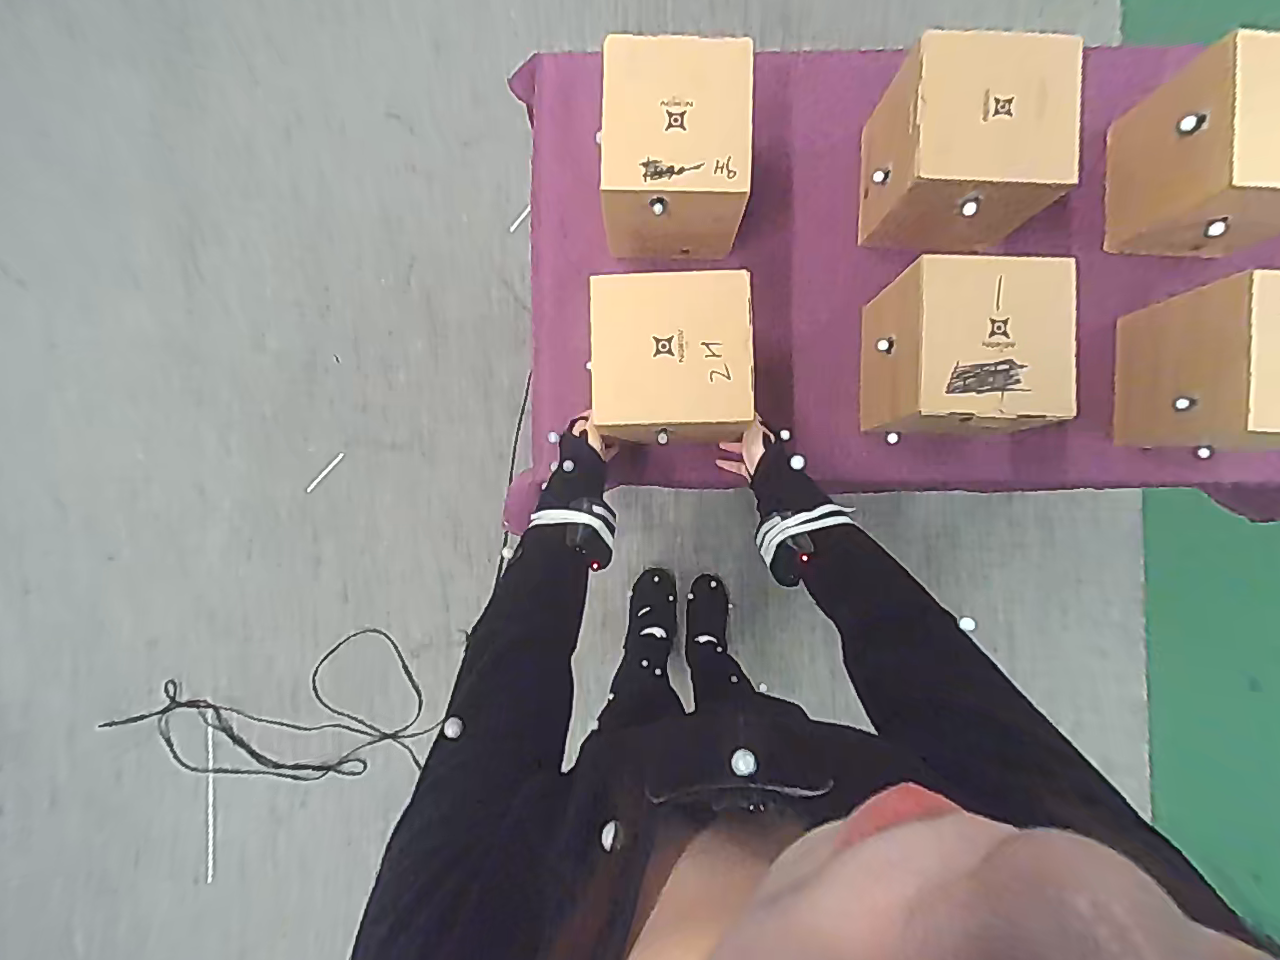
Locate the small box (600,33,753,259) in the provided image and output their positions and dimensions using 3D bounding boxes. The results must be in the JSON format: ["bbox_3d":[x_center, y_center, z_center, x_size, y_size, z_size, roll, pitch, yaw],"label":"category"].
[{"bbox_3d":[0.041,-0.398,0.669,0.168,0.176,0.179,1,88,1],"label":"small box"}]

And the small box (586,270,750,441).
[{"bbox_3d":[0.033,-0.139,0.657,0.179,0.176,0.168,-1,87,2],"label":"small box"}]

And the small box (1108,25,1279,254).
[{"bbox_3d":[0.714,-0.392,0.652,0.168,0.176,0.179,4,87,2],"label":"small box"}]

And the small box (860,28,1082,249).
[{"bbox_3d":[0.387,-0.401,0.662,0.179,0.176,0.168,4,89,1],"label":"small box"}]

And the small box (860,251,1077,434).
[{"bbox_3d":[0.378,-0.152,0.651,0.168,0.176,0.179,2,87,1],"label":"small box"}]
